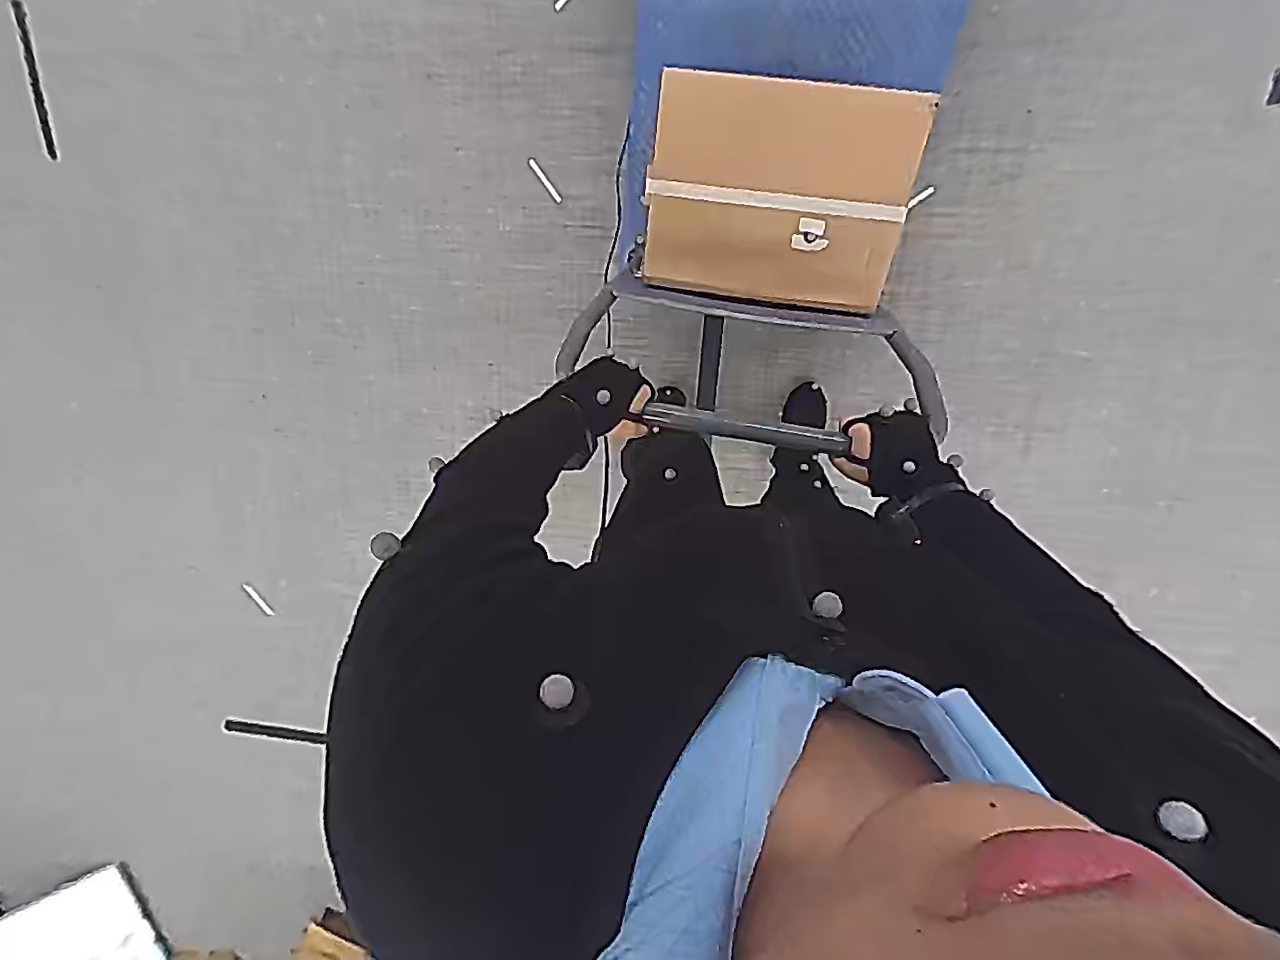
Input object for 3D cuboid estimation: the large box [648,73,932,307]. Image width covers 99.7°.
[{"bbox_3d":[0.239,-0.528,1.006,0.408,0.320,0.320,9,120,4],"label":"large box"}]
